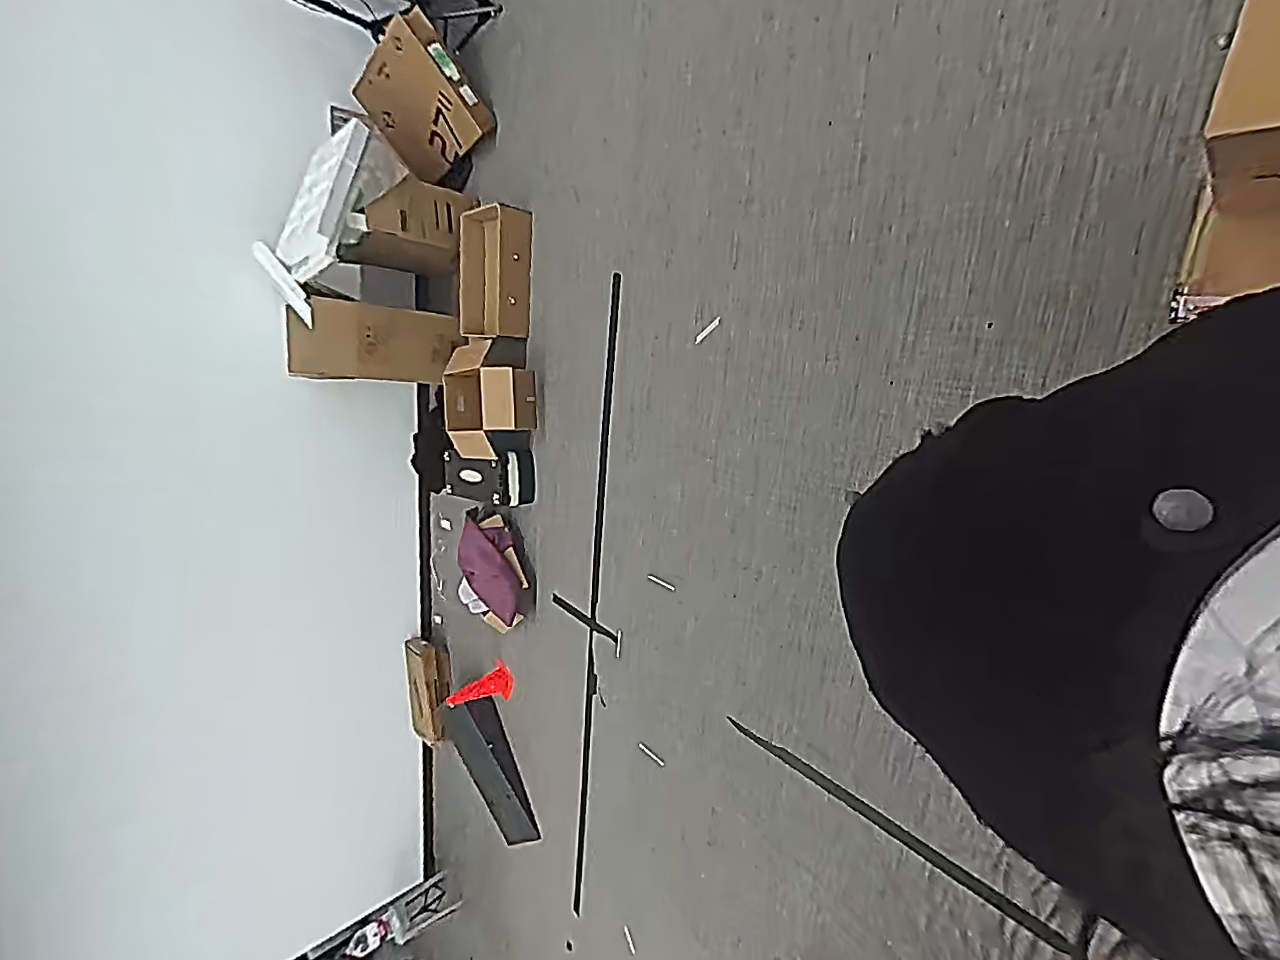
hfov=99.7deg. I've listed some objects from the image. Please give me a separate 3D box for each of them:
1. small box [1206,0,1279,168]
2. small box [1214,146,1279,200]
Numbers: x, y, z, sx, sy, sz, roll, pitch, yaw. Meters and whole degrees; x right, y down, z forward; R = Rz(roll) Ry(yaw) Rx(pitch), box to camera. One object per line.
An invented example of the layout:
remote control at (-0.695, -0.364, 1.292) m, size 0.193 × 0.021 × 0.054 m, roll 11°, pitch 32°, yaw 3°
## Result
small box at (0.623, -0.390, 0.455) m, size 0.168 × 0.176 × 0.179 m, roll 20°, pitch 113°, yaw 46°
small box at (0.743, -0.413, 0.563) m, size 0.168 × 0.176 × 0.179 m, roll 20°, pitch 112°, yaw 45°
